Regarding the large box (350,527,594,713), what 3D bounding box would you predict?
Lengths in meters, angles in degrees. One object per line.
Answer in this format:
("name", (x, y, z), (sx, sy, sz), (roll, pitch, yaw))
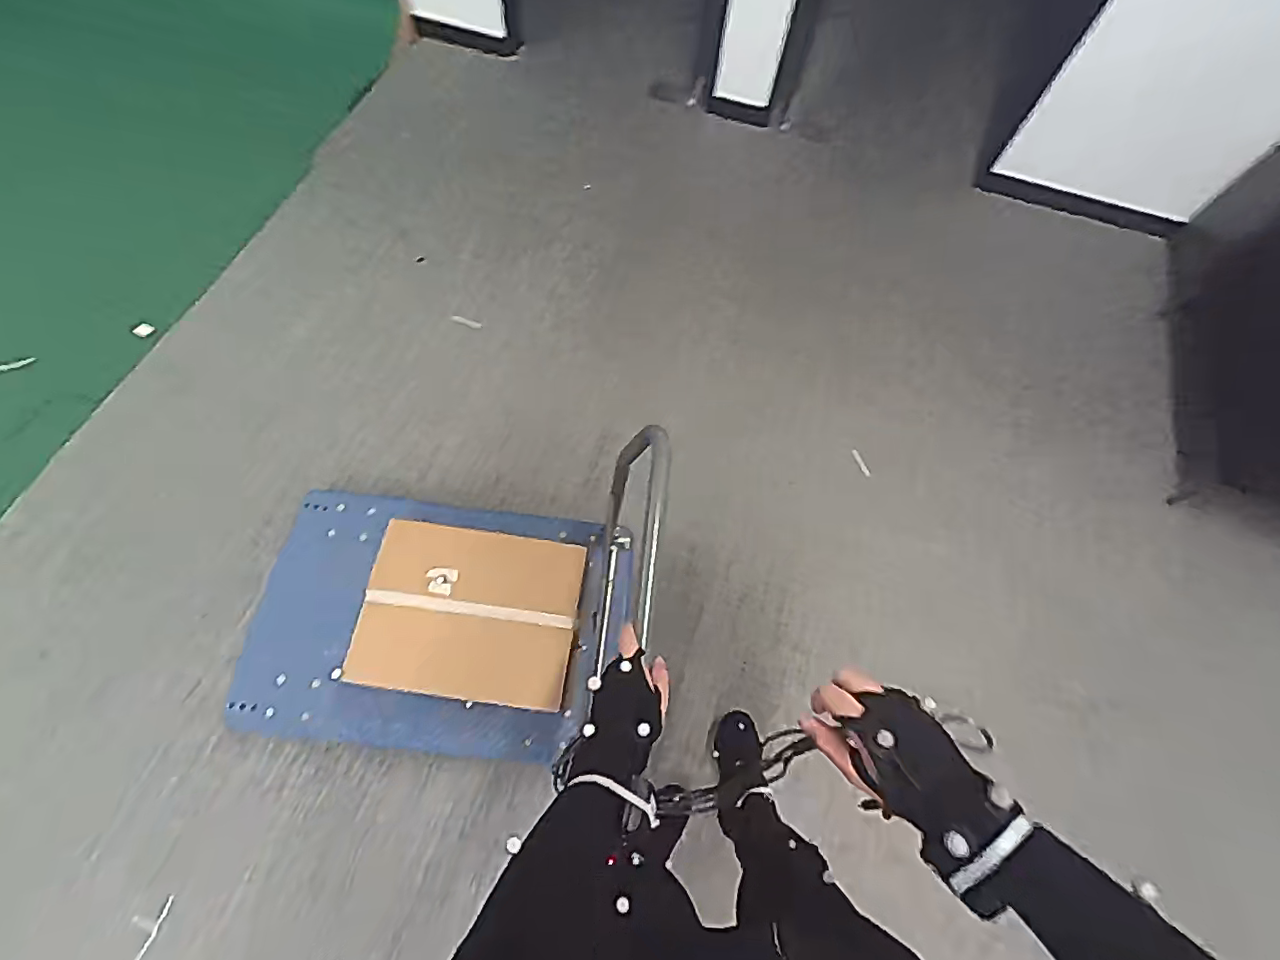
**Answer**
("large box", (-0.322, 0.315, 1.179), (0.408, 0.320, 0.320), (8, 67, 1))
